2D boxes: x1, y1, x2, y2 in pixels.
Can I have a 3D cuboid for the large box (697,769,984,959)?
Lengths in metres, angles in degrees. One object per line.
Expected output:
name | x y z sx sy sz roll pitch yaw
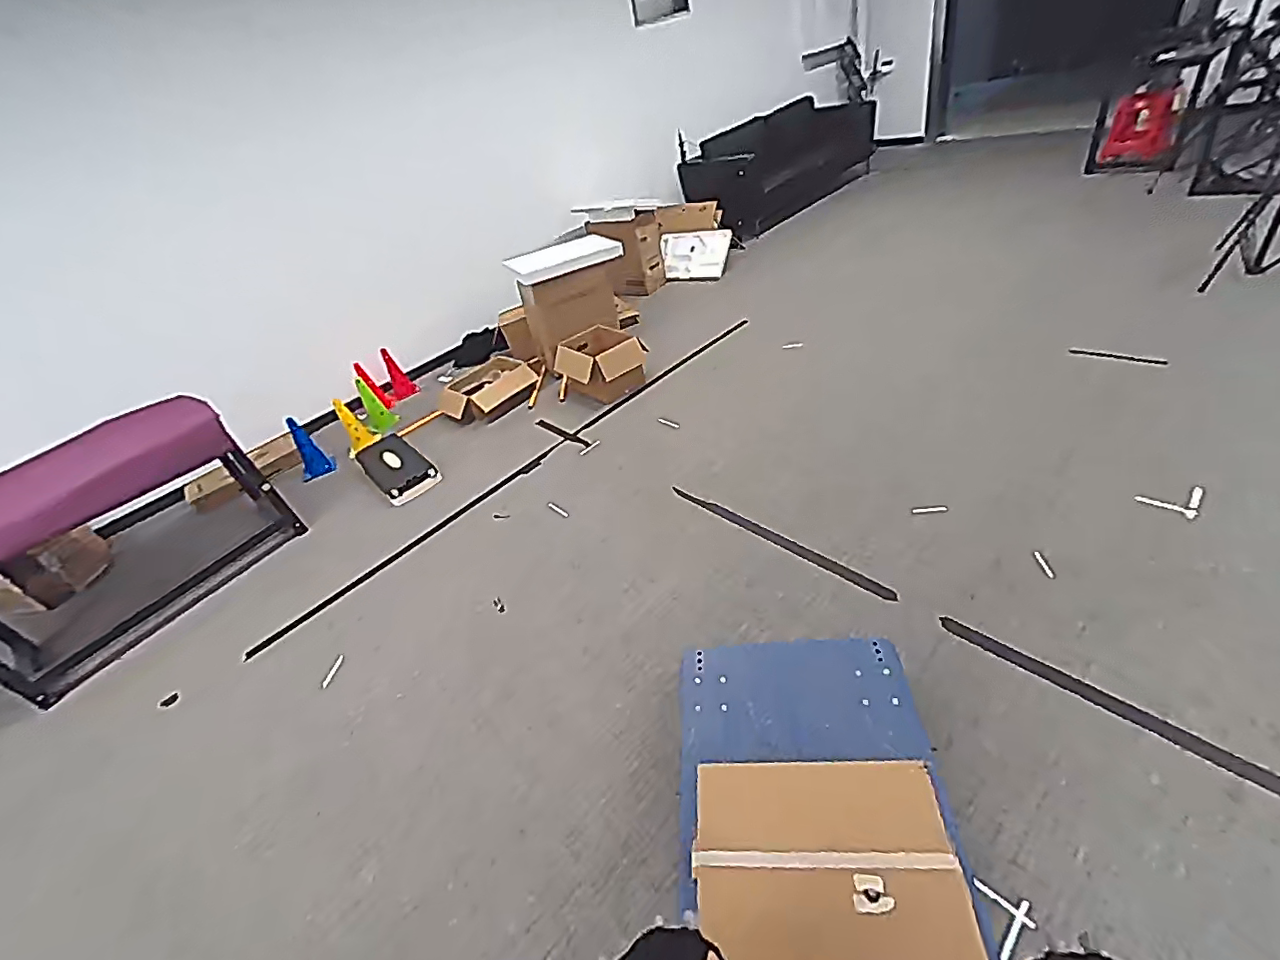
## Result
large box | 0.319 0.741 0.953 0.408 0.320 0.320 -6 38 11
